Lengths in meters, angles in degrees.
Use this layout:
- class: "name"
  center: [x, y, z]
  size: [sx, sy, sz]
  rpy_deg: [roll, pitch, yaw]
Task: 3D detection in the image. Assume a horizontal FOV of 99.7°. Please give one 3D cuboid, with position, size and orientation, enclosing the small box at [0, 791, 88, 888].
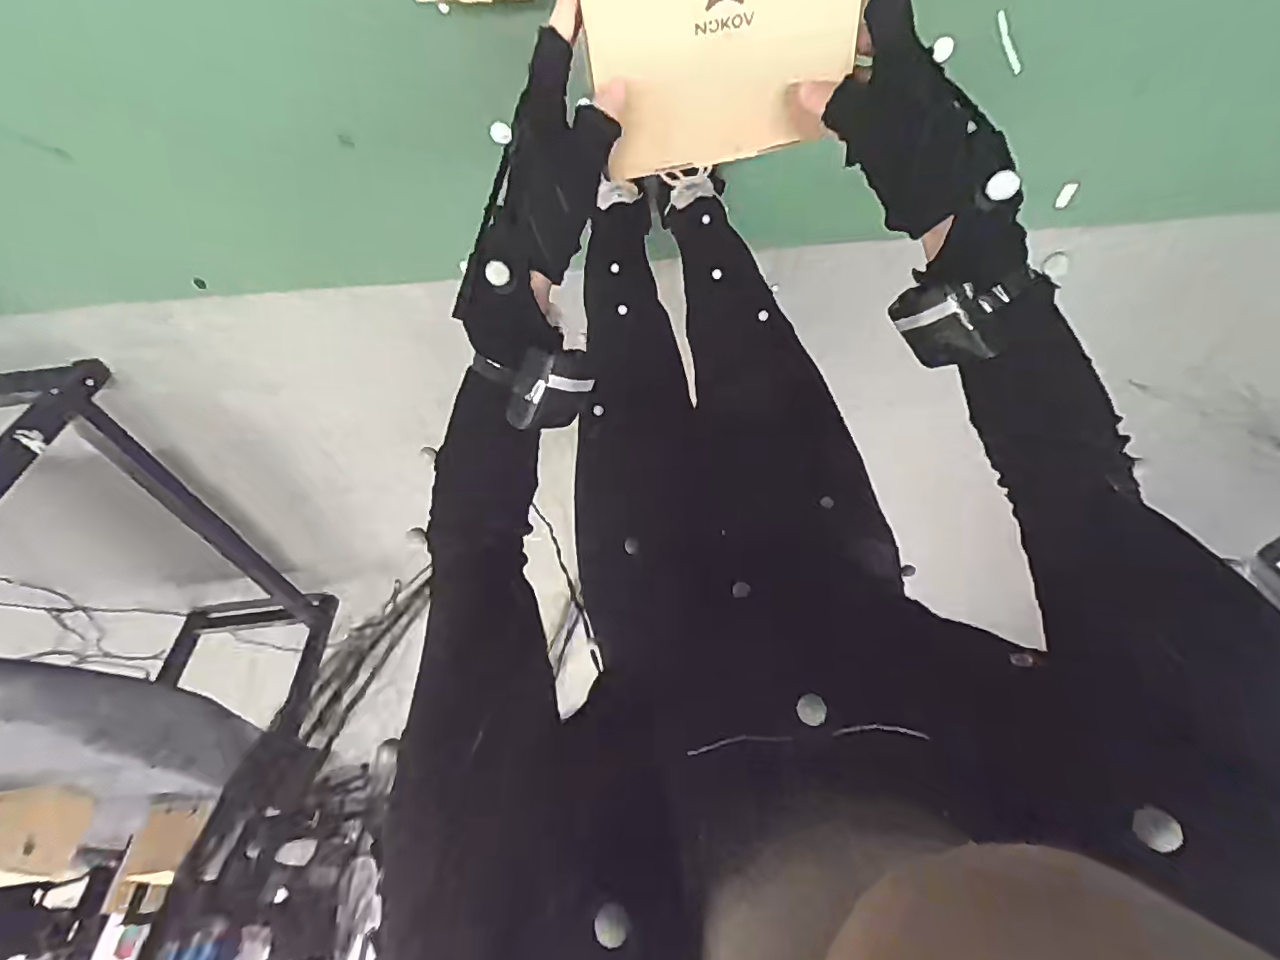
- class: "small box"
  center: [-1.504, 0.854, 1.287]
  size: [0.168, 0.176, 0.179]
  rpy_deg: [-6, 138, -3]

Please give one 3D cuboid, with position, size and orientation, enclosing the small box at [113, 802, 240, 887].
- class: "small box"
  center: [-1.255, 0.994, 1.480]
  size: [0.168, 0.176, 0.179]
  rpy_deg: [-6, 139, 0]
